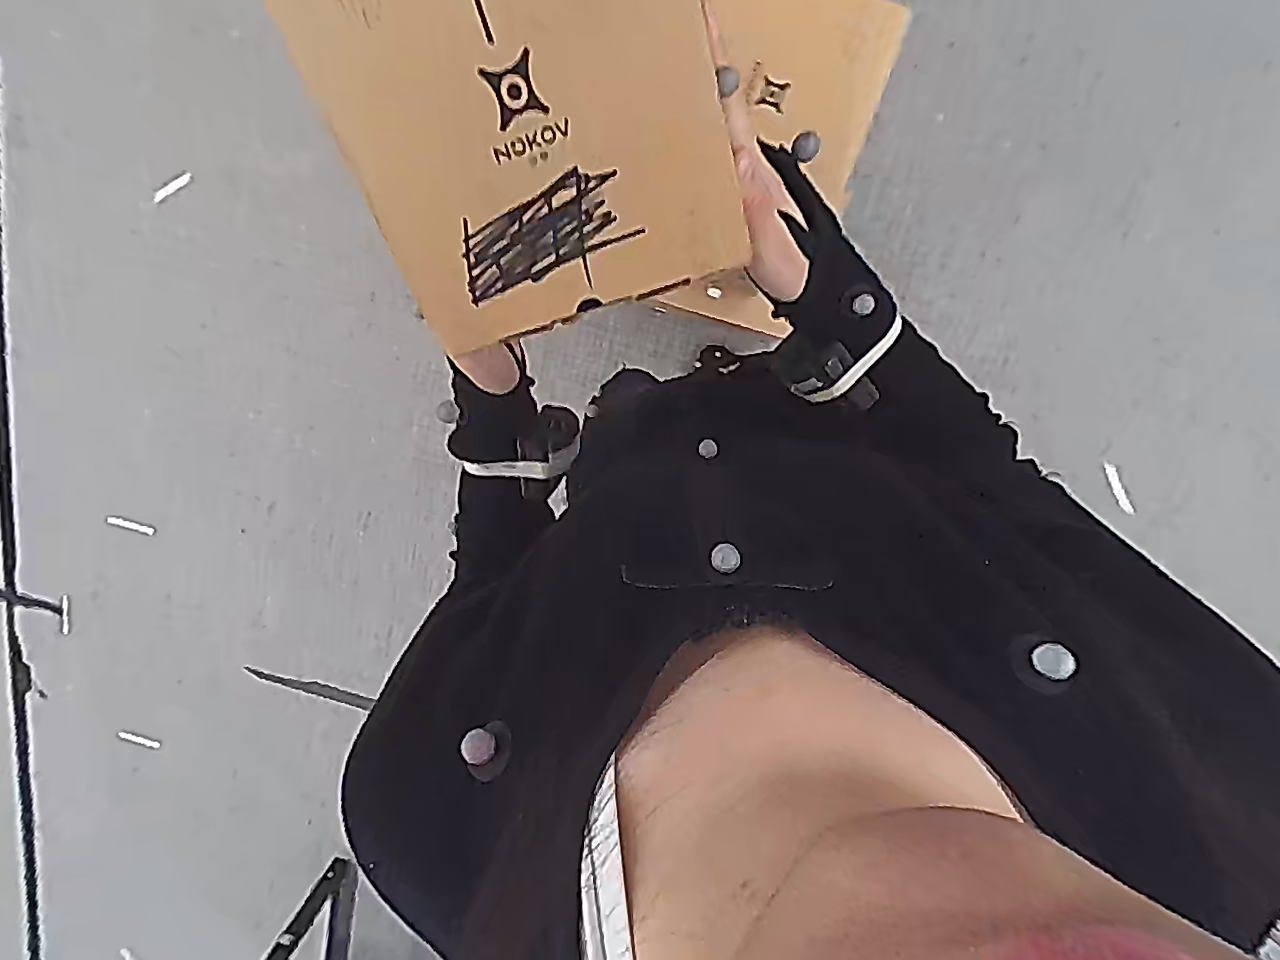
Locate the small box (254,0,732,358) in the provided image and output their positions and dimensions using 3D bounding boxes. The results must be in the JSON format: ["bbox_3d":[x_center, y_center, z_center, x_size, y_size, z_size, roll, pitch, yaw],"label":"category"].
[{"bbox_3d":[-0.052,-0.195,0.304,0.168,0.176,0.179,-15,118,11],"label":"small box"}]

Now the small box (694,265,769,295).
[{"bbox_3d":[0.157,-0.446,0.992,0.179,0.176,0.168,15,106,1],"label":"small box"}]

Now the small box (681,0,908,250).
[{"bbox_3d":[0.110,-0.333,0.517,0.179,0.176,0.168,19,106,1],"label":"small box"}]
